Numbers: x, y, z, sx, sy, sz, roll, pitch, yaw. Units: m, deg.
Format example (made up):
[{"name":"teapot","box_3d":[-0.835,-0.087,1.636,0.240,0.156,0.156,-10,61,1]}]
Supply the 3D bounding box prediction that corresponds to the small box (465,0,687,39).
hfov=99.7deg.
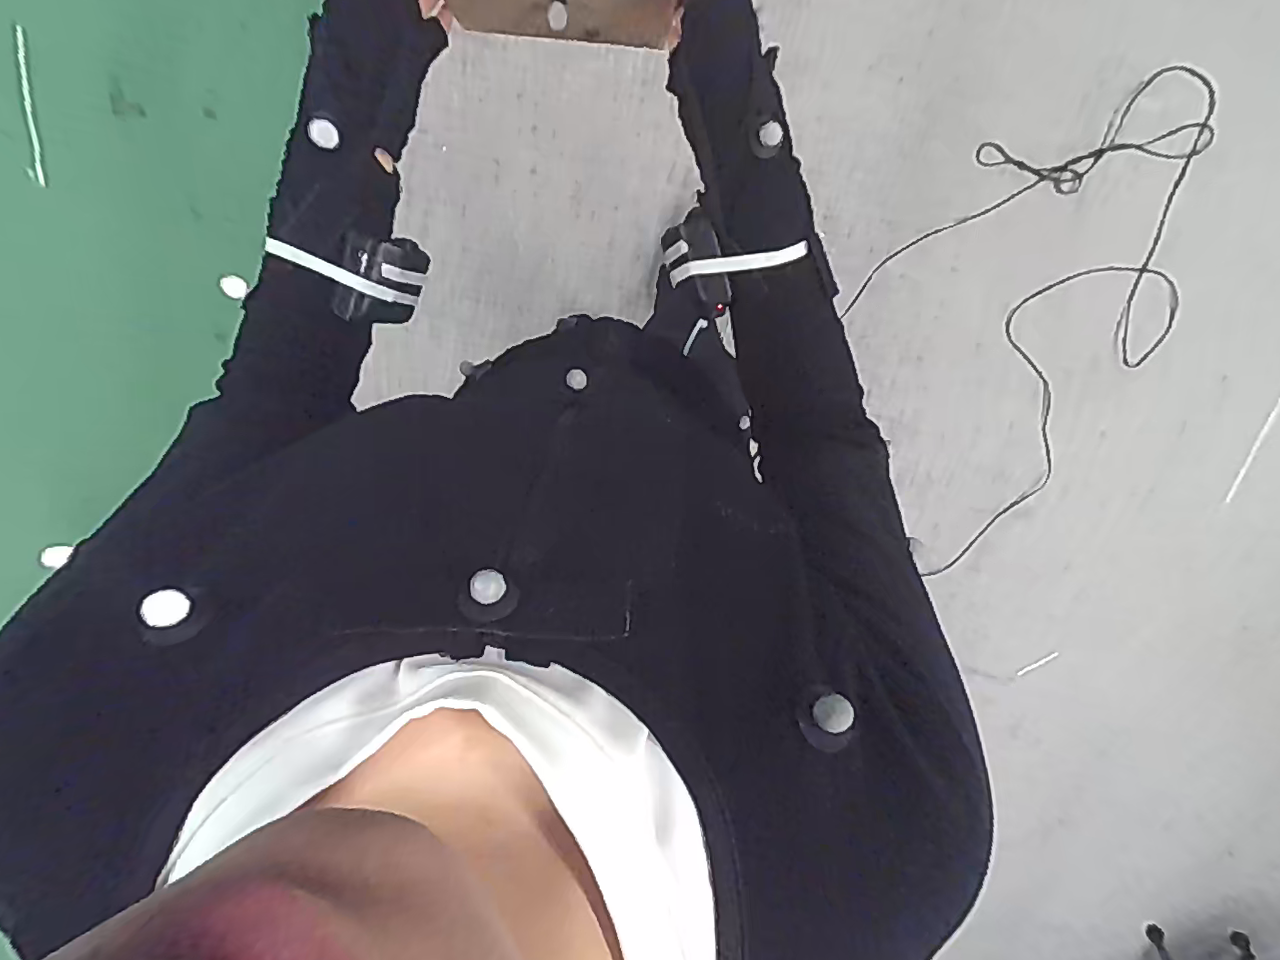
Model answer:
[{"name":"small box","box_3d":[-0.044,-0.402,0.327,0.168,0.176,0.179,0,111,-2]}]
